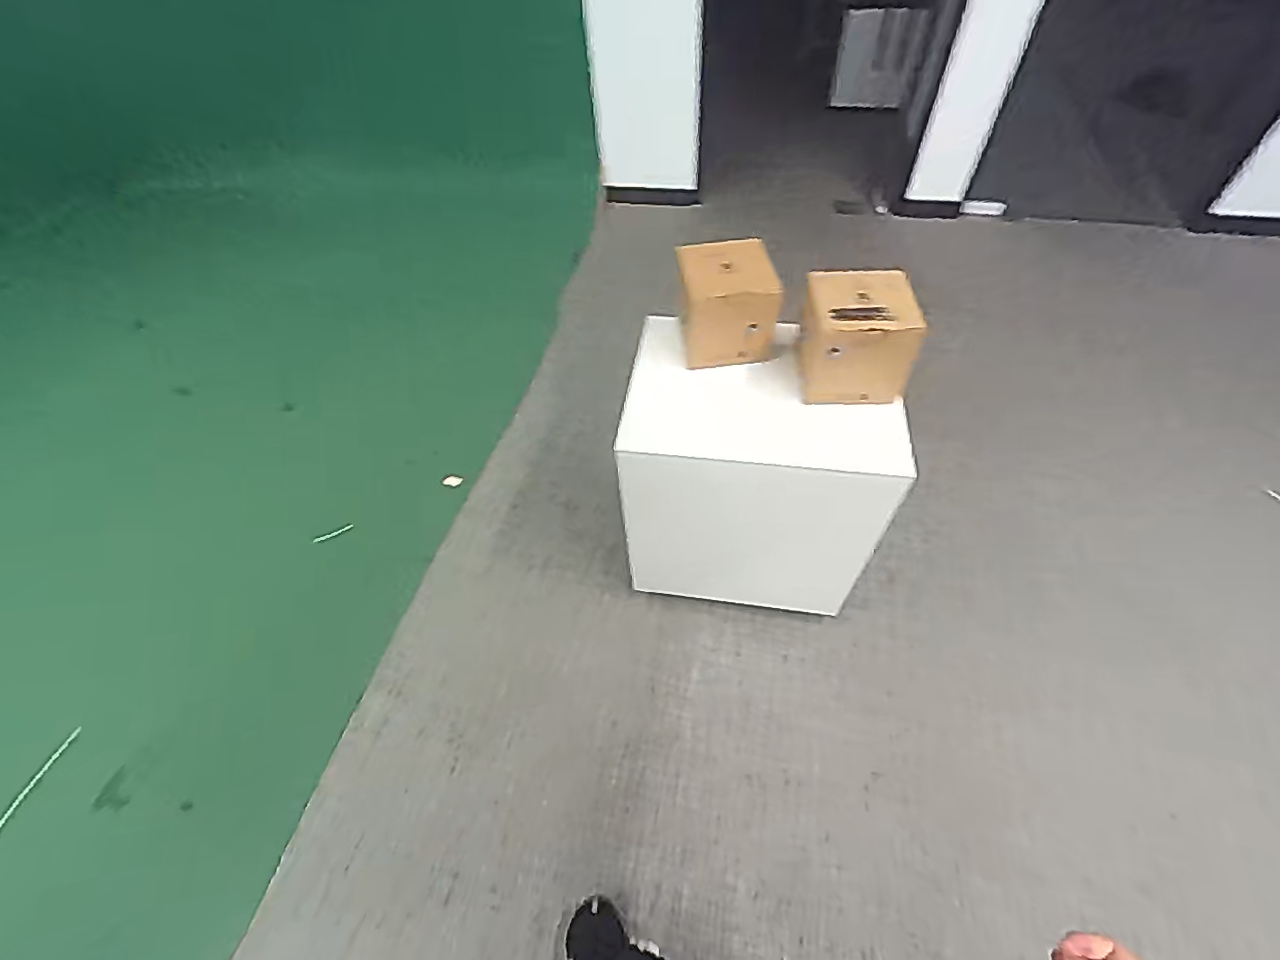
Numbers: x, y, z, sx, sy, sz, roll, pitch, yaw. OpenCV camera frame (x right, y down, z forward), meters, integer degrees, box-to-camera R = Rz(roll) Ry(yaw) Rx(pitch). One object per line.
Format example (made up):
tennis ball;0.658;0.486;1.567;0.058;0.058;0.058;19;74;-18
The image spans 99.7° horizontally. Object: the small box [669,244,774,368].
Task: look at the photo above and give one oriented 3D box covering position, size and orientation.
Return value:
small box;0.151;-0.334;1.063;0.168;0.176;0.179;-7;52;-3
